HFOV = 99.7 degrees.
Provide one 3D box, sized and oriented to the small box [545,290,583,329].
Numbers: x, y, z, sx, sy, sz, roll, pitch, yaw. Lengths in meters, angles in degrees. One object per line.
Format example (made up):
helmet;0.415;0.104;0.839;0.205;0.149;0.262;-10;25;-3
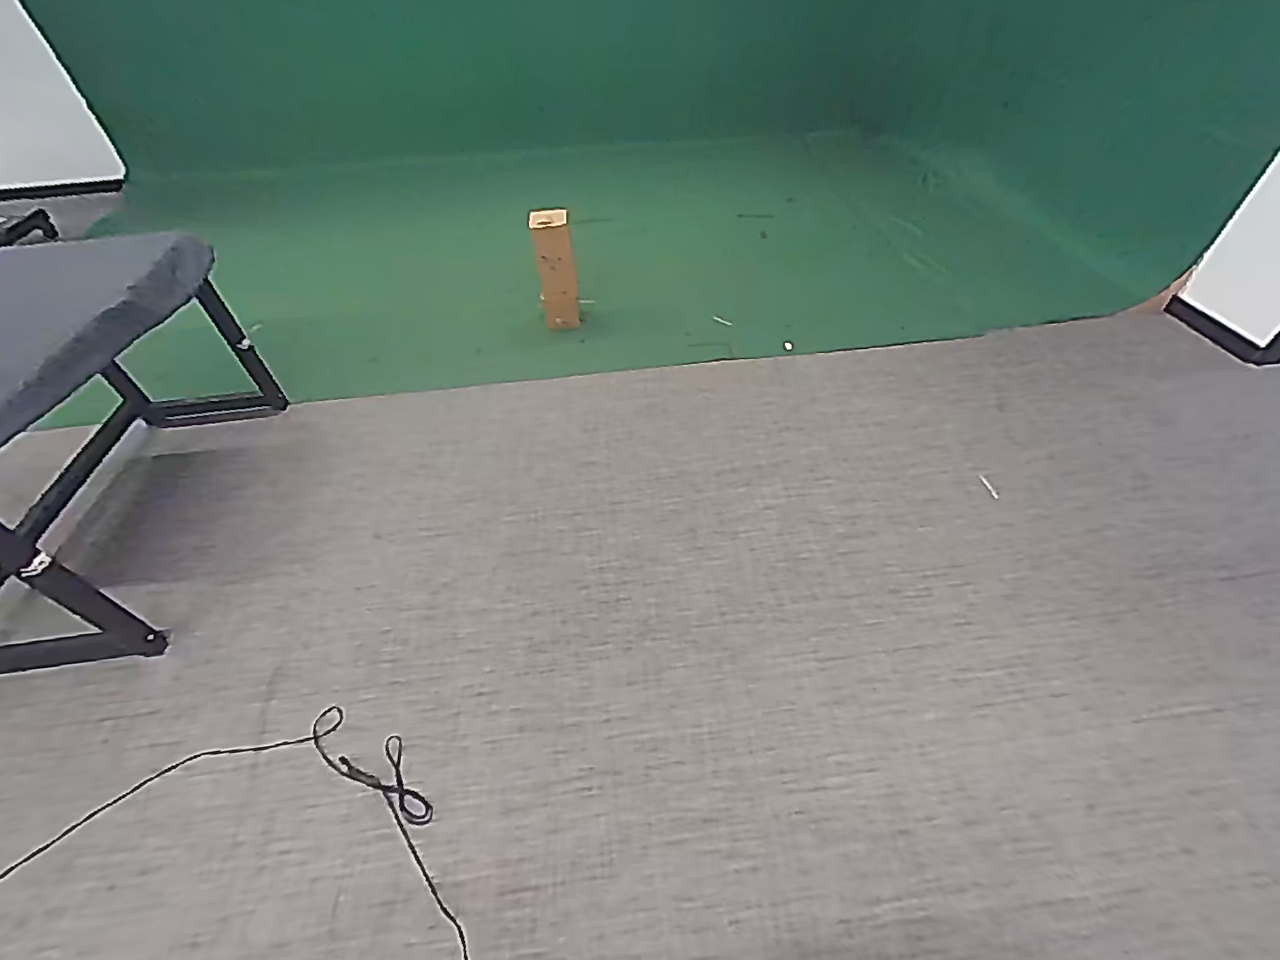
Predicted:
small box;-0.379;-0.877;2.697;0.168;0.176;0.179;-6;48;-1

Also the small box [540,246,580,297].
small box;-0.379;-0.994;2.581;0.168;0.176;0.179;-6;46;-1

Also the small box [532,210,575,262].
small box;-0.390;-1.105;2.460;0.168;0.176;0.179;-6;46;-2
